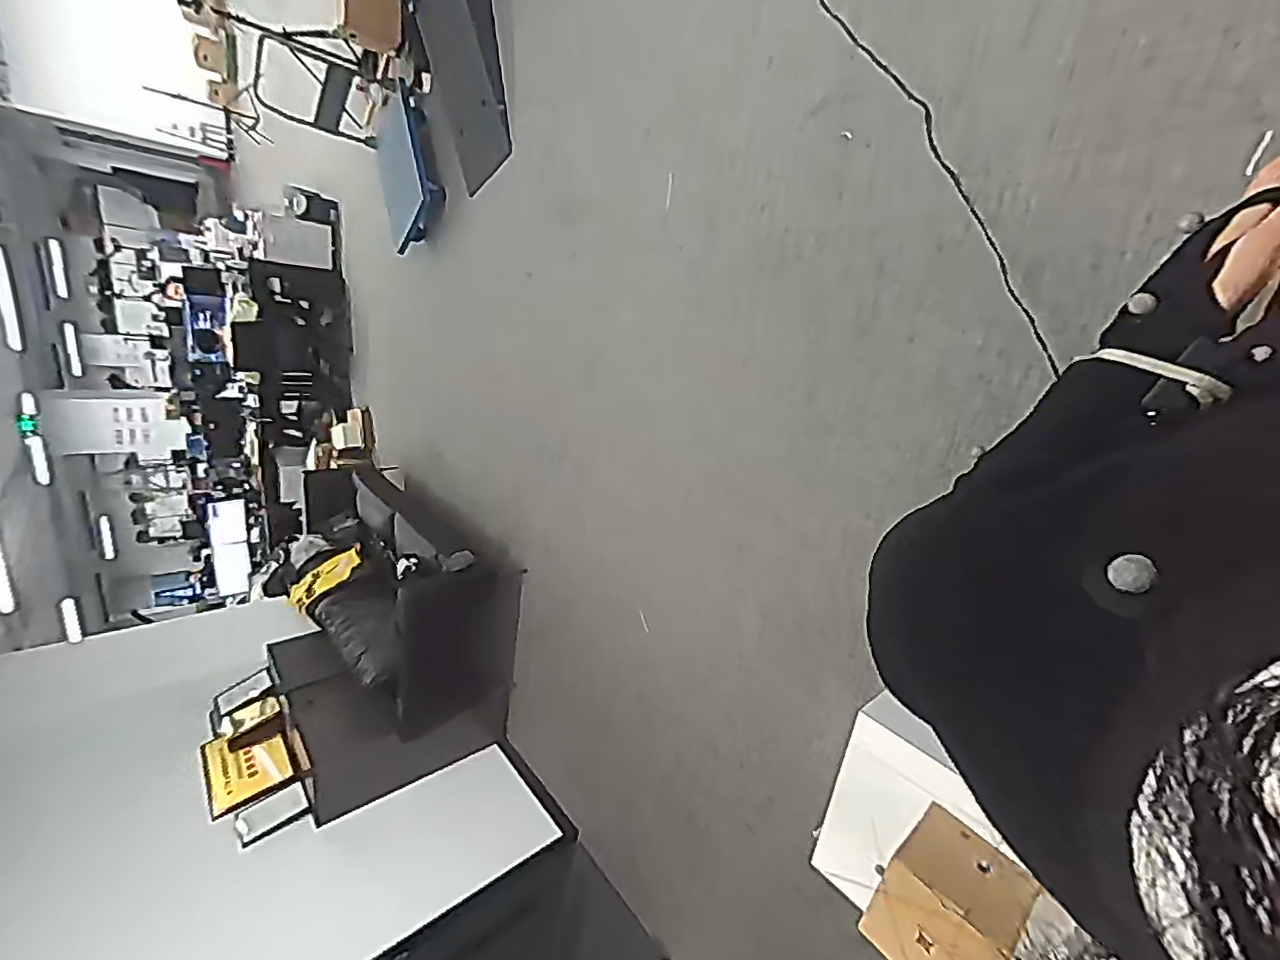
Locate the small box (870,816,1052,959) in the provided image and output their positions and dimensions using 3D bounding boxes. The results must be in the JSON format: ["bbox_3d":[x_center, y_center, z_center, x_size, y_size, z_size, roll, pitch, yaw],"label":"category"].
[{"bbox_3d":[0.488,0.670,0.823,0.168,0.176,0.179,29,117,43],"label":"small box"}]
